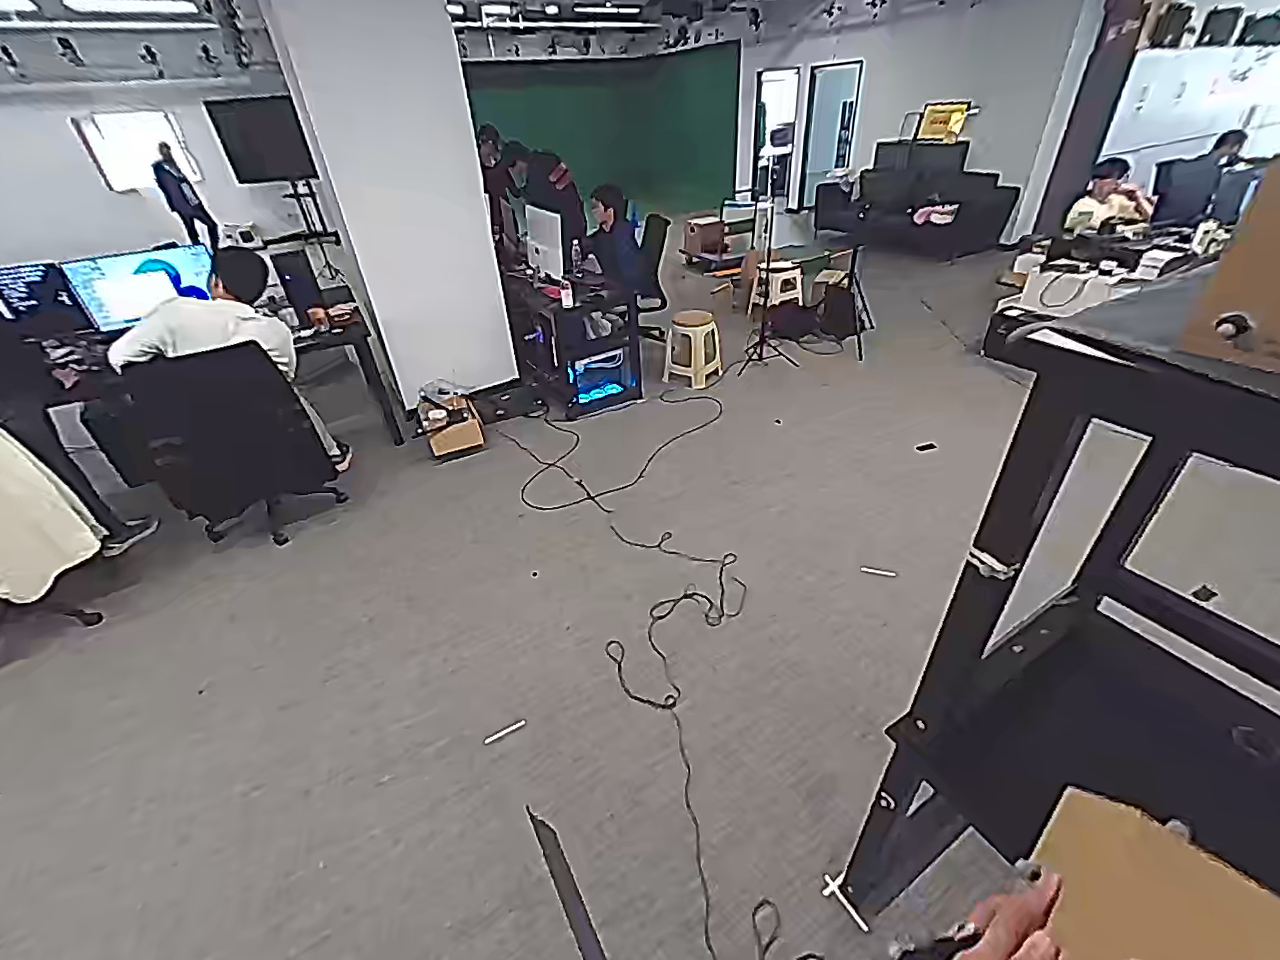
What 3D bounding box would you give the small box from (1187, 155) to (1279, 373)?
[{"bbox_3d":[0.622,-0.181,0.451,0.179,0.176,0.168,-22,39,-25],"label":"small box"}]
